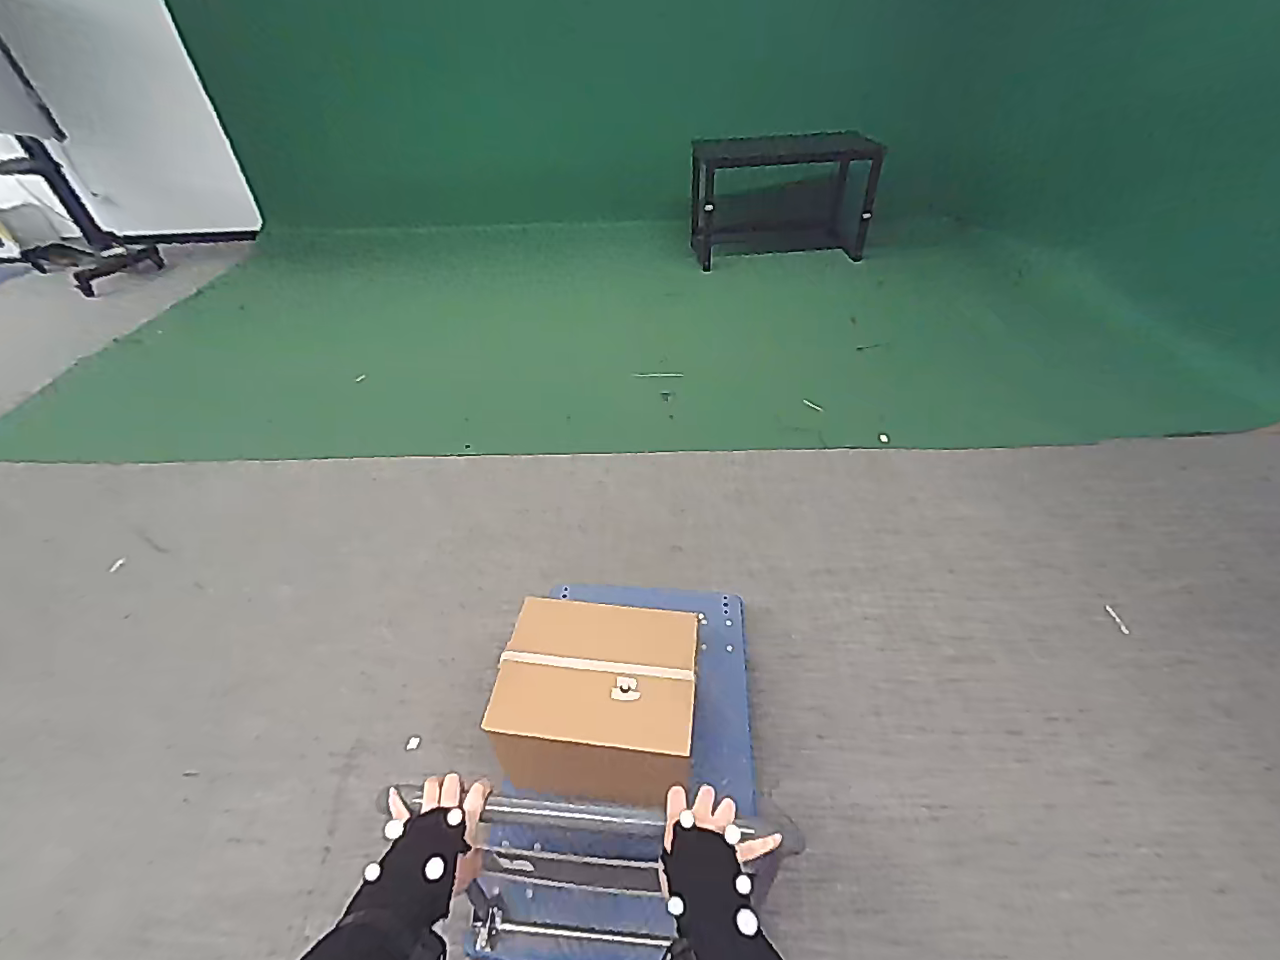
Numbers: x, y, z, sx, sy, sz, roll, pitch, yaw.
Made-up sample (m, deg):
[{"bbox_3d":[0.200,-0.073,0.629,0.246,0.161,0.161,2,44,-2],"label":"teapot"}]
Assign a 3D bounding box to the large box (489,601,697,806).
[{"bbox_3d":[-0.084,0.511,1.244,0.408,0.320,0.320,5,42,6],"label":"large box"}]
